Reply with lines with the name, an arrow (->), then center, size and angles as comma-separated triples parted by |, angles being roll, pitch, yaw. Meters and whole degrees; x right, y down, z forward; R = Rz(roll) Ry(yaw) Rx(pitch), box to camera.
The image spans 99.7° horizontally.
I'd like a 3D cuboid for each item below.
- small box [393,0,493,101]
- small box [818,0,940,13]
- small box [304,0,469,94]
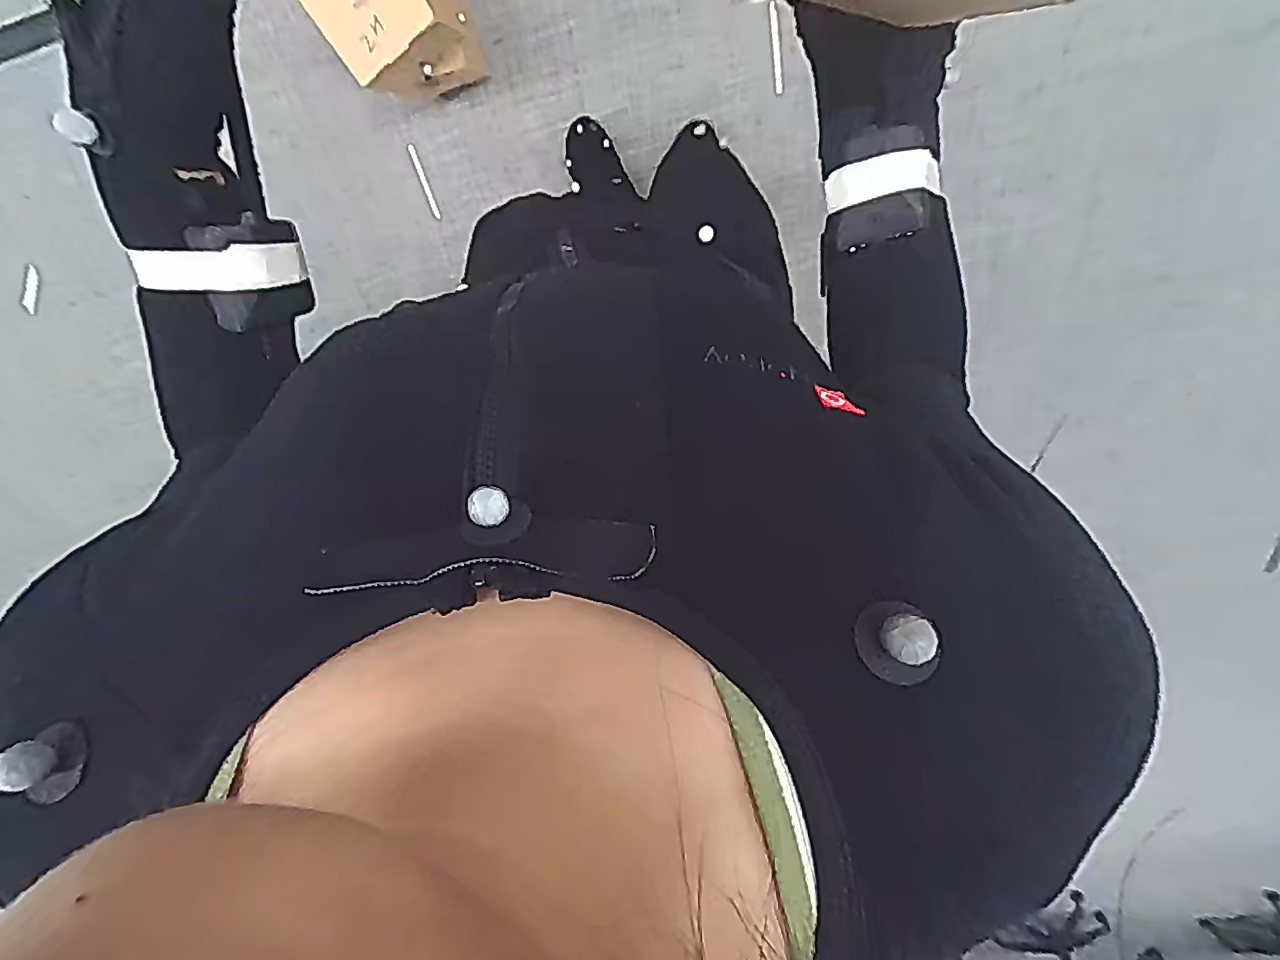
small box -> -0.403, -0.848, 1.032 | 0.168, 0.176, 0.179 | -12, 120, 10
small box -> 0.082, -0.294, 0.195 | 0.179, 0.176, 0.168 | 9, 127, -2
small box -> -0.415, -0.769, 0.887 | 0.168, 0.176, 0.179 | -23, 121, 17
